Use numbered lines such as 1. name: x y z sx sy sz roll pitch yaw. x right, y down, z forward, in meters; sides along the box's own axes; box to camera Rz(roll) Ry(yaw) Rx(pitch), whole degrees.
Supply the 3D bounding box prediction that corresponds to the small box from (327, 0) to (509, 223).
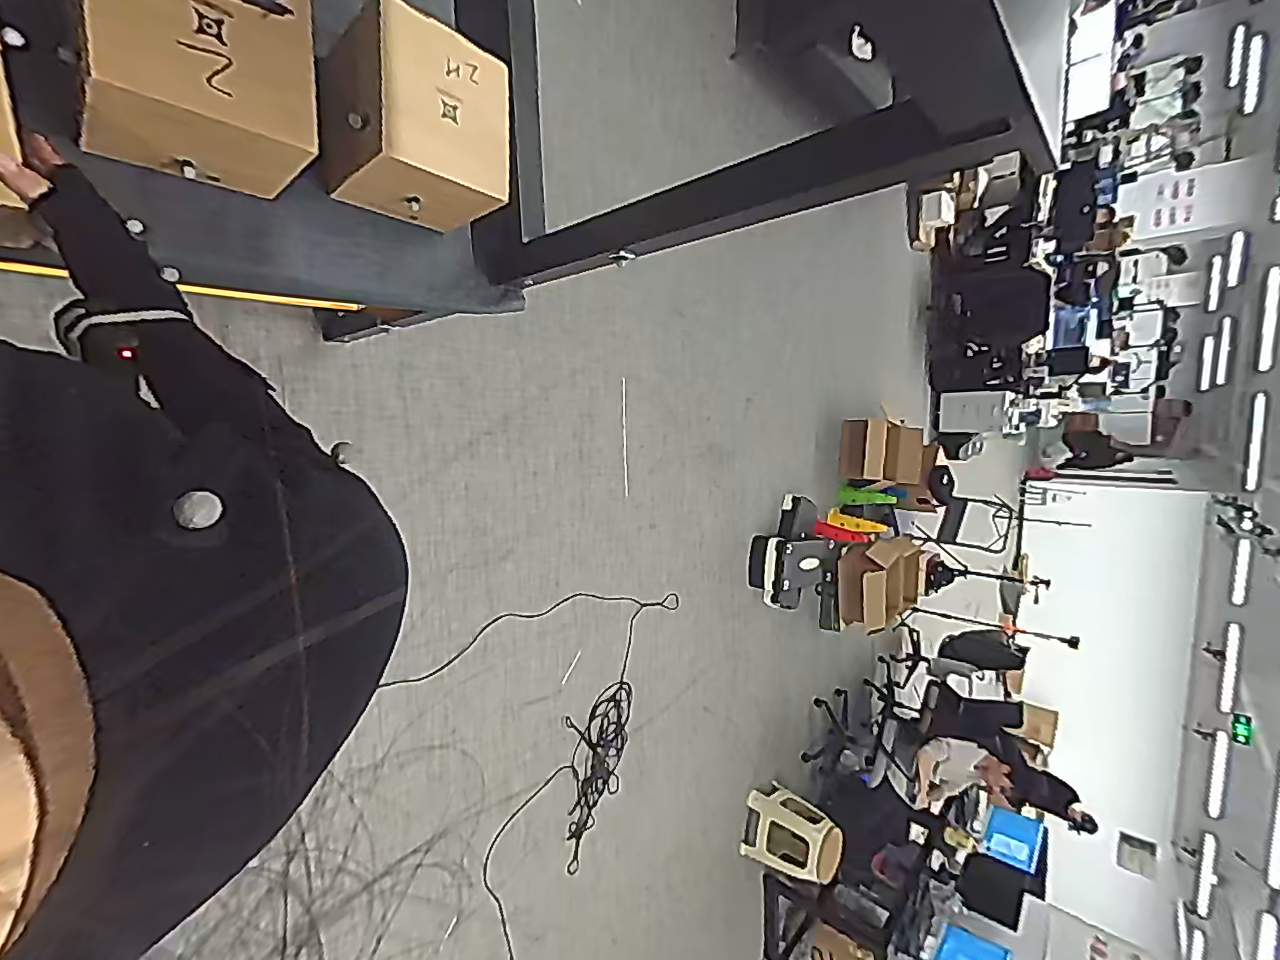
1. small box: -0.288 -0.459 0.700 0.168 0.176 0.179 -4 97 -48
